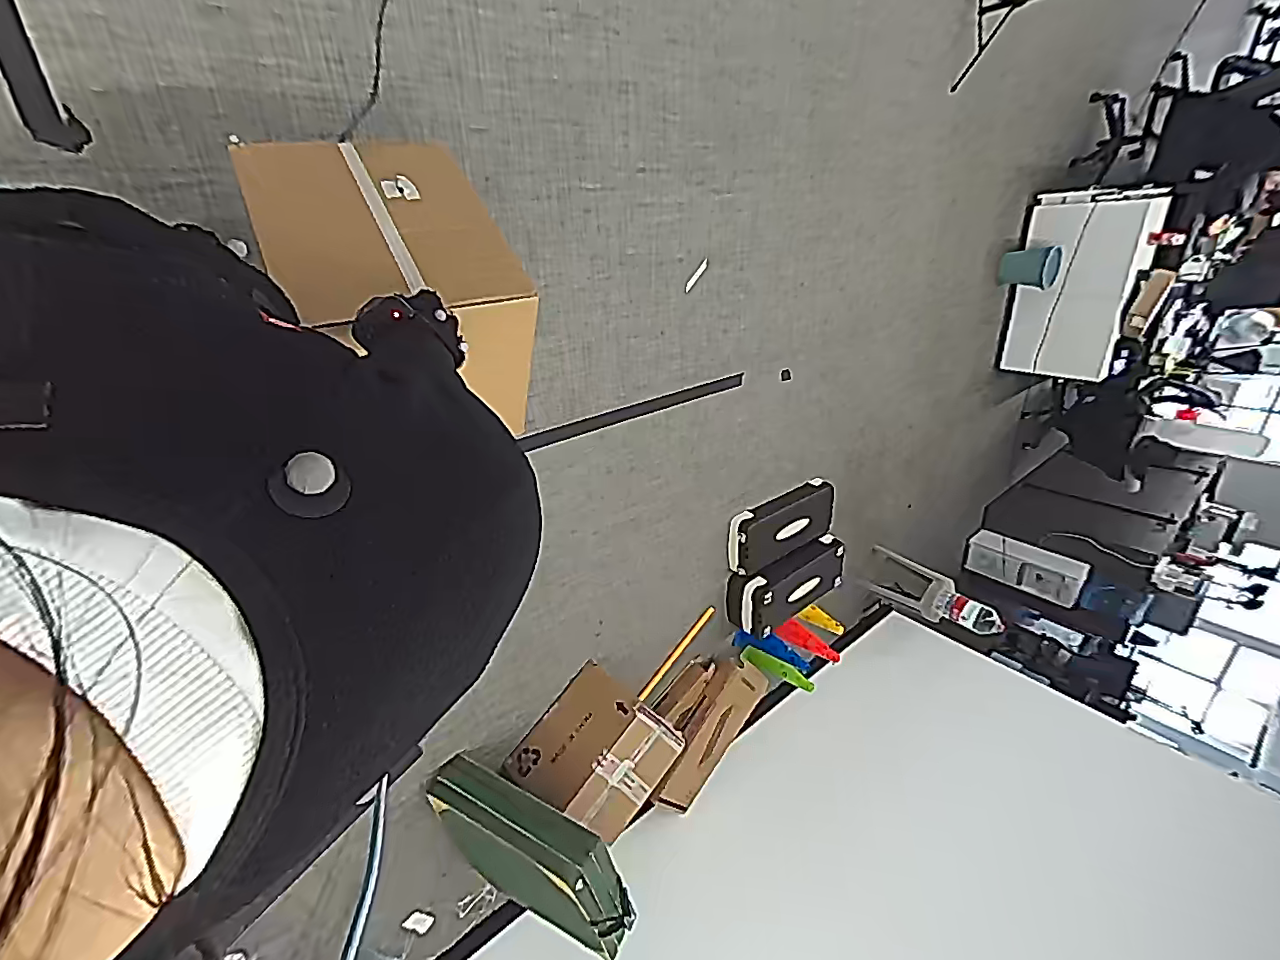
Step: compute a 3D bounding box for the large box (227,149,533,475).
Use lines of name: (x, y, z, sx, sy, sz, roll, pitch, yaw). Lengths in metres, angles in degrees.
large box: (-0.411, -0.283, 0.899, 0.320, 0.408, 0.320, -20, 153, -29)
